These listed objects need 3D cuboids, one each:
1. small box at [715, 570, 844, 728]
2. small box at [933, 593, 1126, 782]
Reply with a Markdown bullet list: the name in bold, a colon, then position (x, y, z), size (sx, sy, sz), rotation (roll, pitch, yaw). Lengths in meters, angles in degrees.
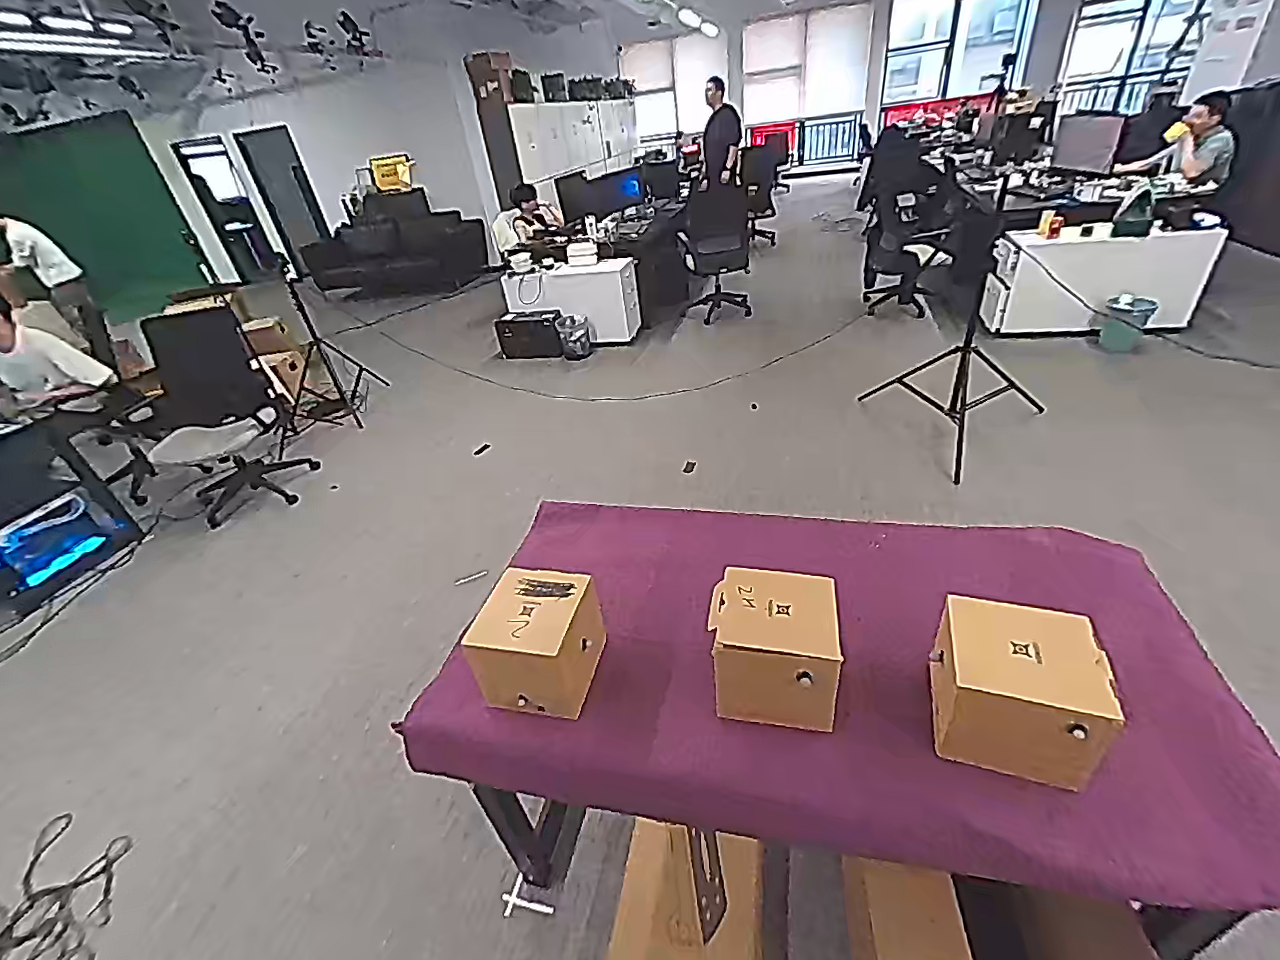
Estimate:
- **small box**: position (0.218, 0.265, 0.857), size (0.179, 0.176, 0.168), rotation (1, 32, 15)
- **small box**: position (0.520, 0.287, 0.757), size (0.179, 0.176, 0.168), rotation (6, 36, 21)
